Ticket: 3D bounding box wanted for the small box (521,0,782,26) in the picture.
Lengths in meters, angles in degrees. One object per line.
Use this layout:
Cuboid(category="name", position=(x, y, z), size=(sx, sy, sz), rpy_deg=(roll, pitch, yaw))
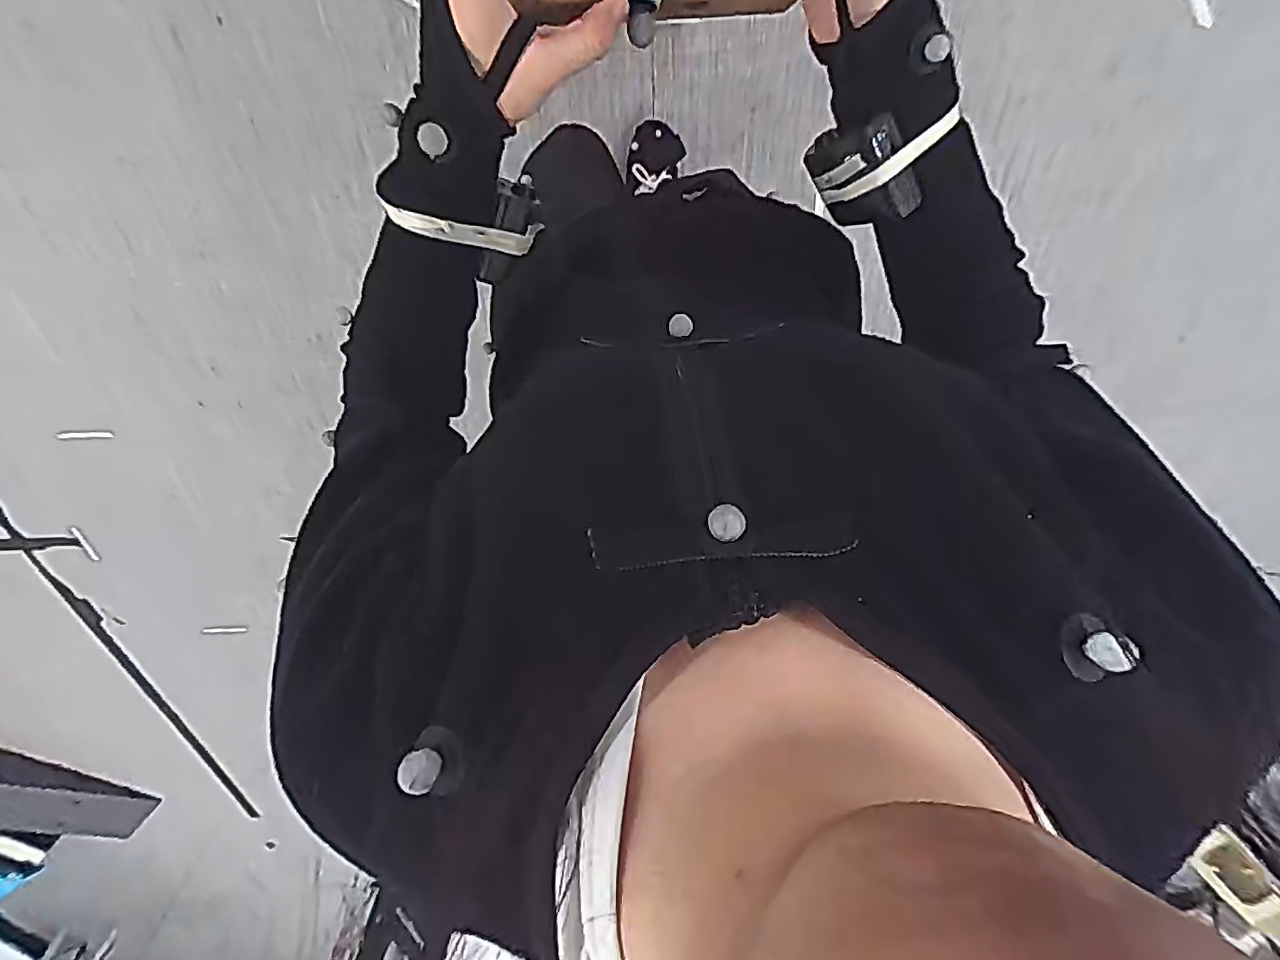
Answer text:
Cuboid(category="small box", position=(0.011, -0.314, 0.209), size=(0.168, 0.176, 0.179), rpy_deg=(-7, 118, -4))
